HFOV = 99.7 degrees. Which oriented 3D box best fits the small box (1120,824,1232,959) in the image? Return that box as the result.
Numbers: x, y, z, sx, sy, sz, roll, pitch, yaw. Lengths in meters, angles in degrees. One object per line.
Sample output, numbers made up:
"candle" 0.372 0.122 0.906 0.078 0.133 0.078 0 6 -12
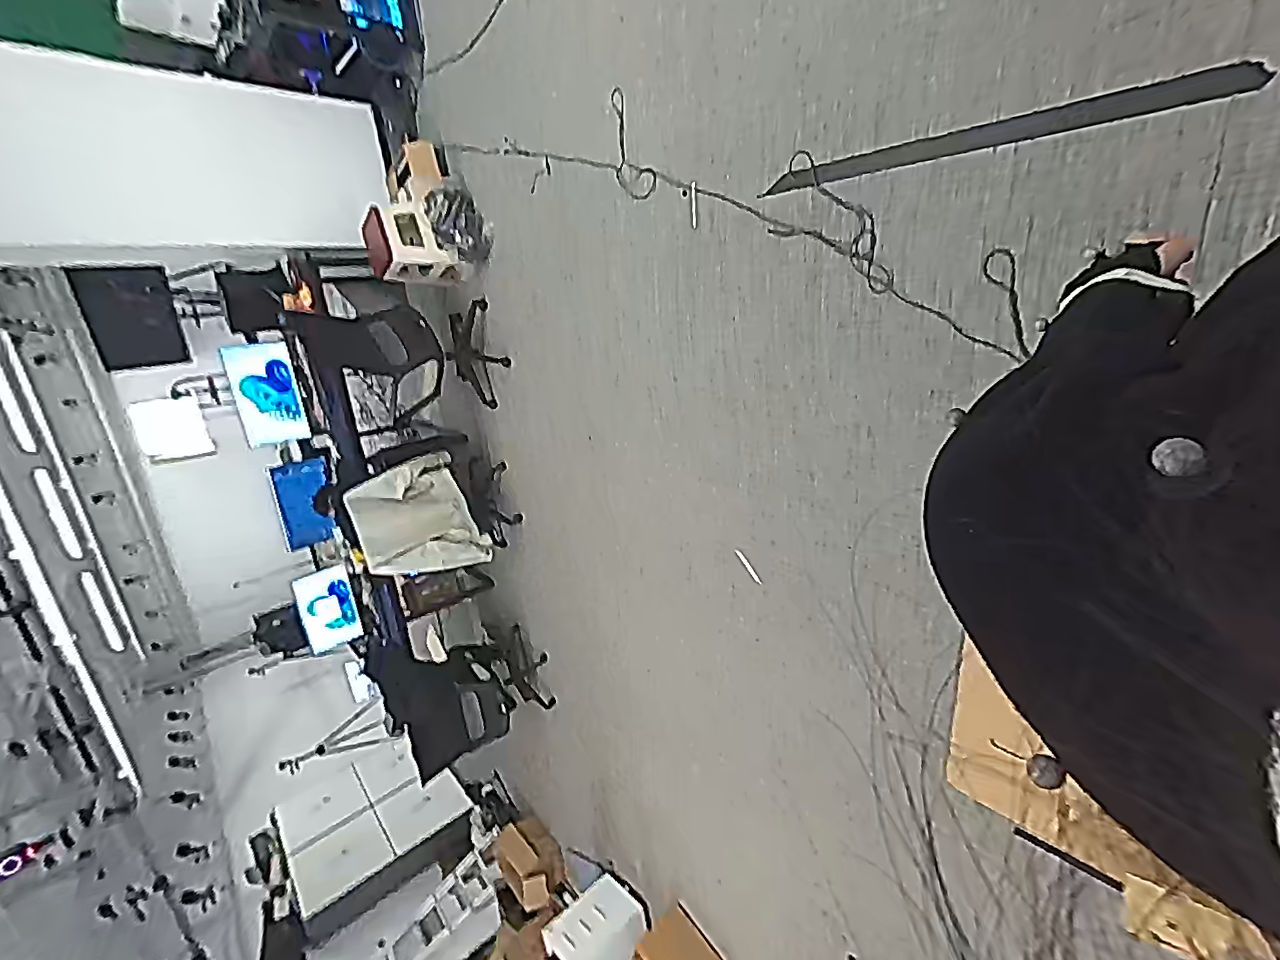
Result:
"small box" 1.225 0.944 1.237 0.168 0.176 0.179 6 110 49
